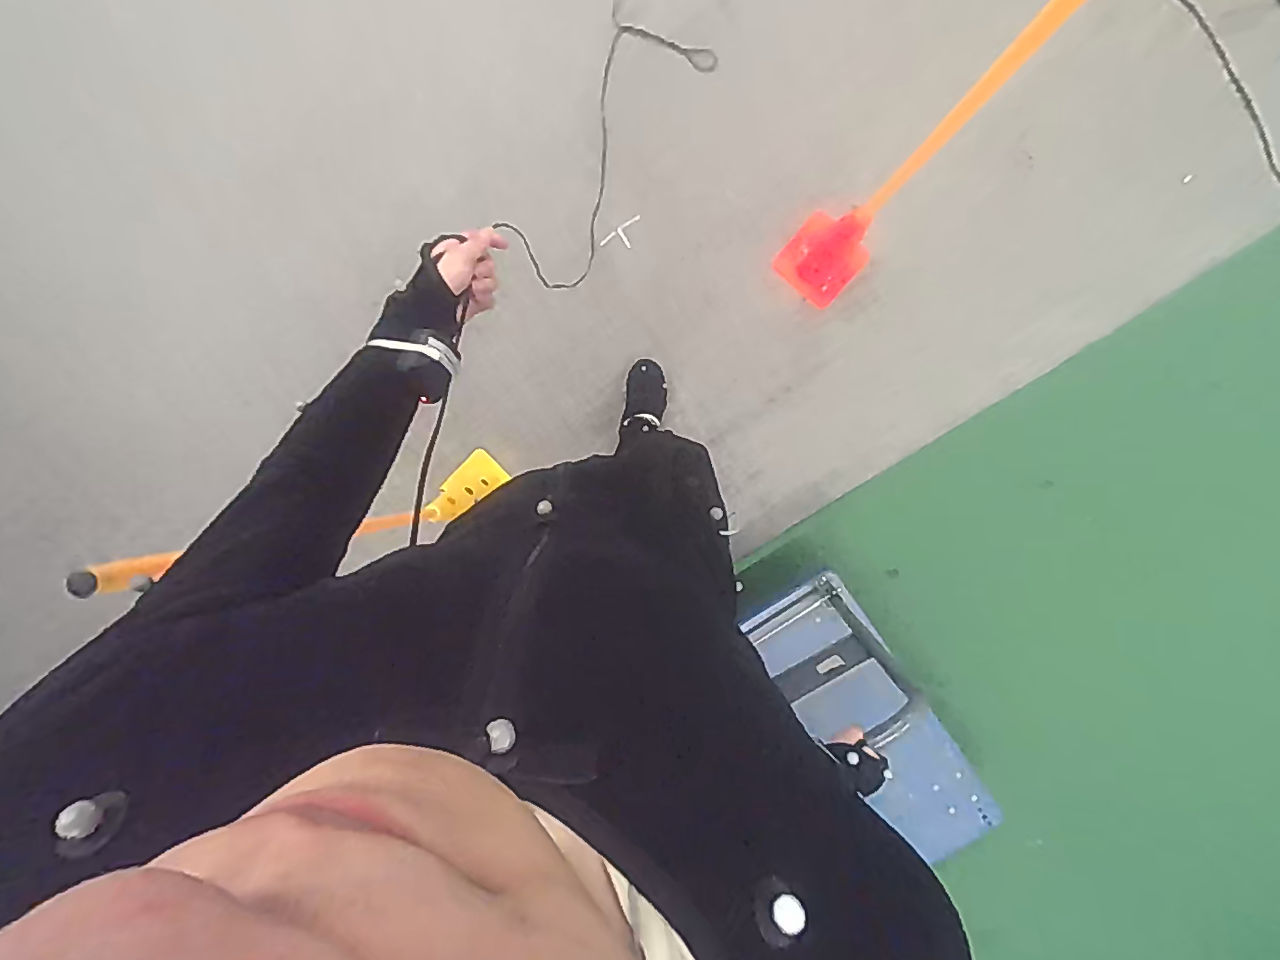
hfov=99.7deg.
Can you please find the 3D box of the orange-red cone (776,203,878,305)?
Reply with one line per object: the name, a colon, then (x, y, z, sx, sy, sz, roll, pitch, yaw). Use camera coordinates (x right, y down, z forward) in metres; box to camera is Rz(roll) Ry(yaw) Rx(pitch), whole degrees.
orange-red cone: (0.495, -0.591, 1.318, 0.198, 0.360, 0.199, 42, 97, -3)
